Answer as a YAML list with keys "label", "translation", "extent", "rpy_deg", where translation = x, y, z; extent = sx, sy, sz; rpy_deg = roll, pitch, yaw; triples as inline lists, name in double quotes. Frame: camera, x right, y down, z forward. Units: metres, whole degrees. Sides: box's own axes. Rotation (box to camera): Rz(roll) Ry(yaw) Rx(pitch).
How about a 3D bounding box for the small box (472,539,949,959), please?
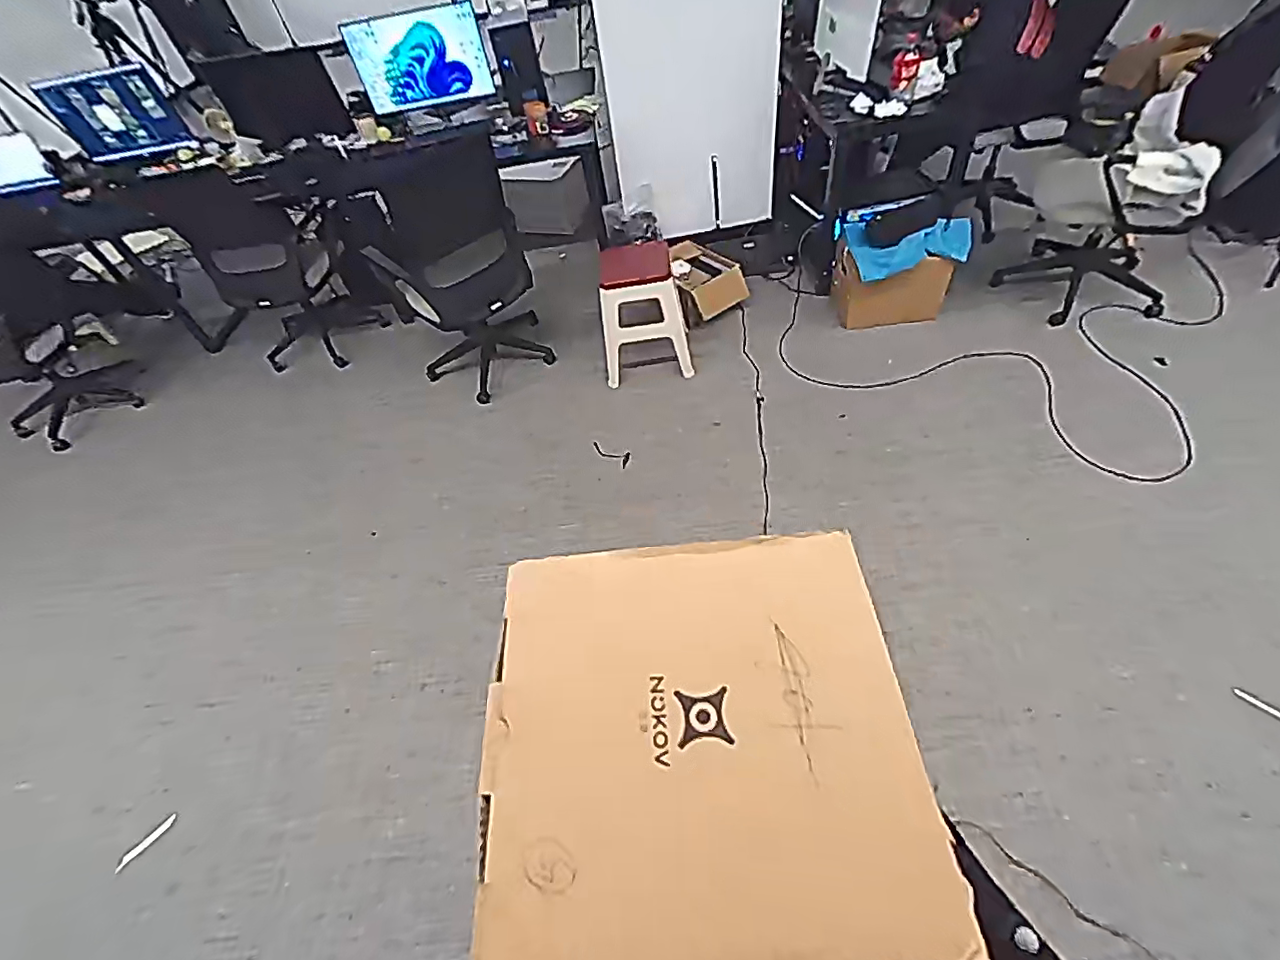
- label: "small box"
  translation: [0.028, 0.150, 0.303]
  extent: [0.179, 0.176, 0.168]
  rpy_deg: [-6, 56, 2]
